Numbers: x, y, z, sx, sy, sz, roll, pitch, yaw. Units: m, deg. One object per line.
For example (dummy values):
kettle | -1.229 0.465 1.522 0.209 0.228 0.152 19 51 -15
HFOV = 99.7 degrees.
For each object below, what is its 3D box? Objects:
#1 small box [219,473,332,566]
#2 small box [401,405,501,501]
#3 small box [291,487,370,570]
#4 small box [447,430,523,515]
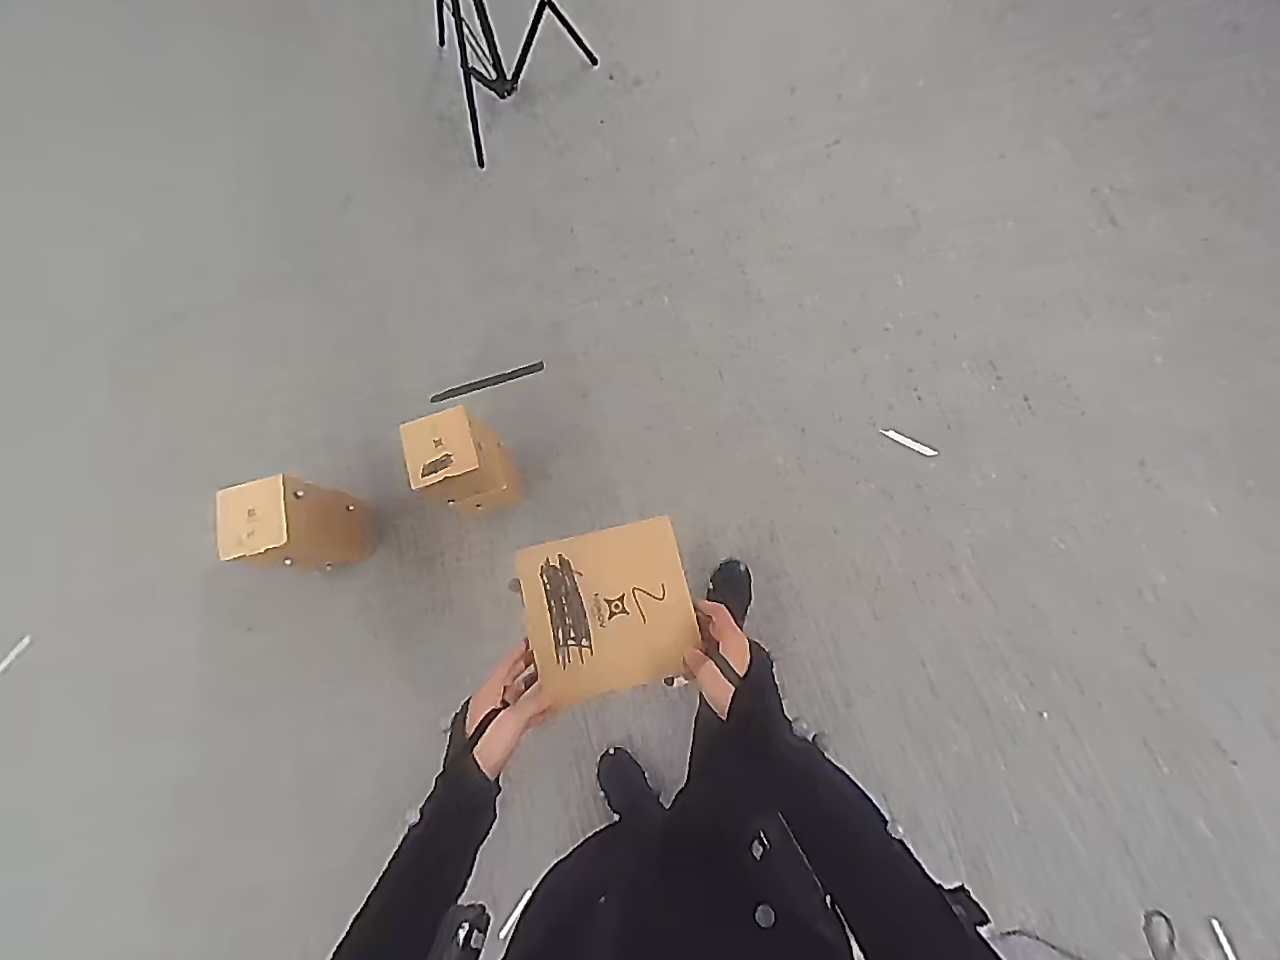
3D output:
small box | -0.888 0.102 1.329 0.168 0.176 0.179 -14 75 1
small box | -0.463 -0.057 1.346 0.168 0.176 0.179 -18 73 -2
small box | -0.871 0.139 1.488 0.168 0.176 0.179 -14 74 1
small box | -0.440 -0.010 1.502 0.168 0.176 0.179 -18 74 -2
